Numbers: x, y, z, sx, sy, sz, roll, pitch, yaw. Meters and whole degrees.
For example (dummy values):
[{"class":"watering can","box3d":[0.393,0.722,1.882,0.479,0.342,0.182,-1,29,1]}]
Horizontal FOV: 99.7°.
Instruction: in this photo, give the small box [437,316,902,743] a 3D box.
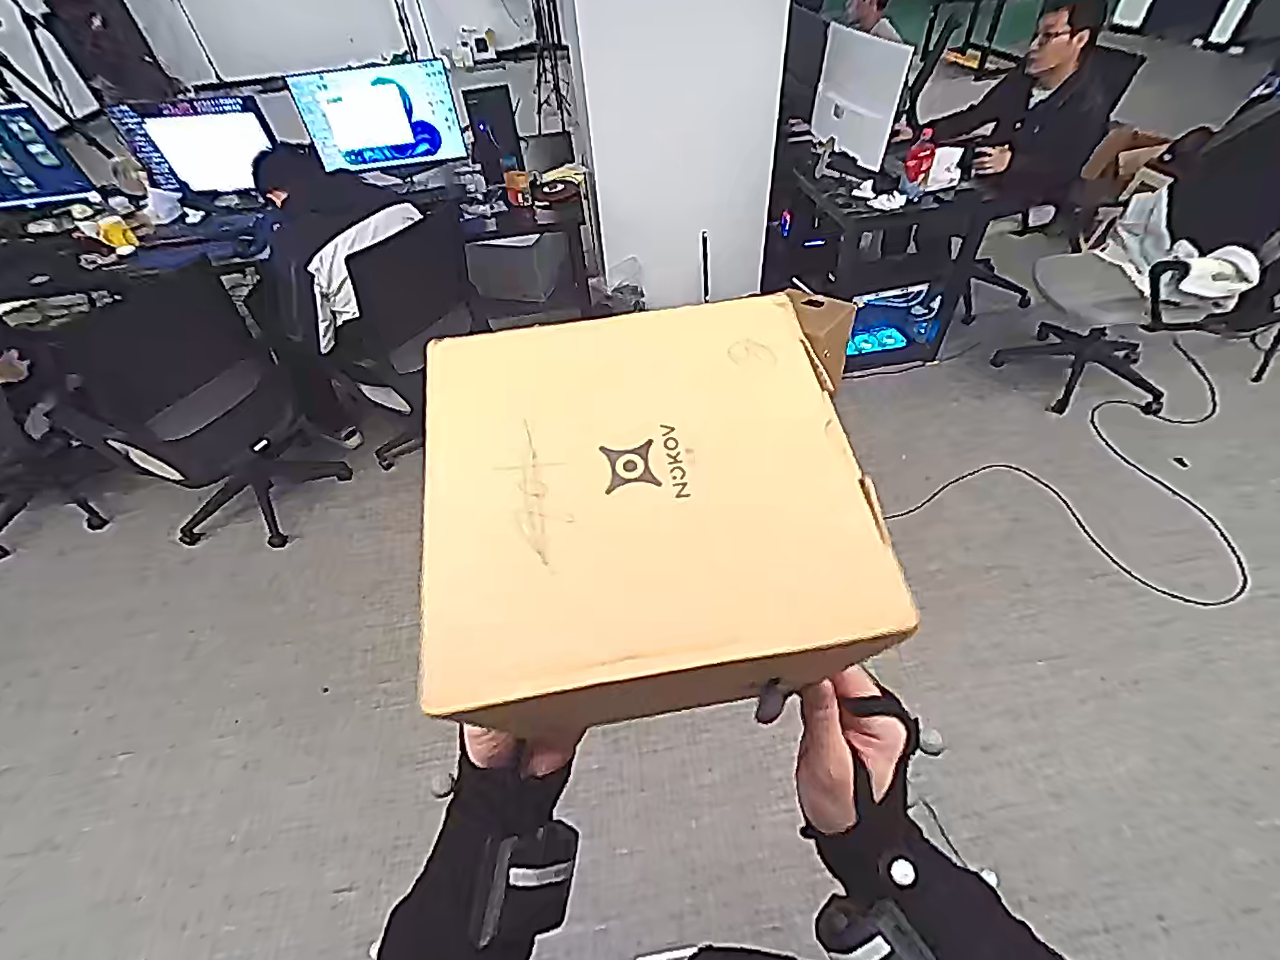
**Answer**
[{"class":"small box","box3d":[0.003,0.040,0.305,0.179,0.176,0.168,-11,61,-4]}]
